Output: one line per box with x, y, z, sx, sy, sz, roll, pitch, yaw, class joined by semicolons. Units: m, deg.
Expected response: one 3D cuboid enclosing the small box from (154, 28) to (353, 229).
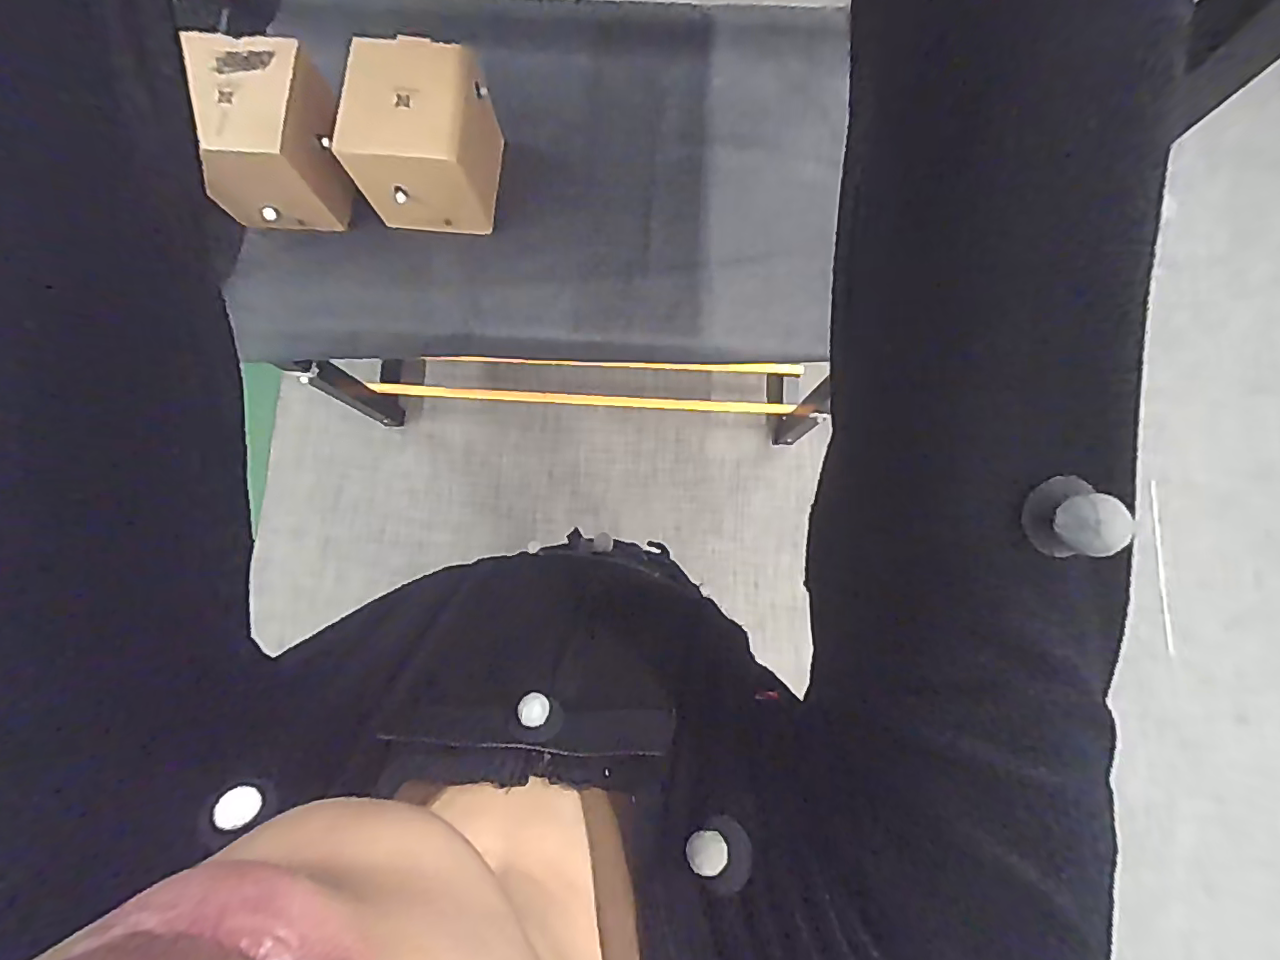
-0.540;-0.500;0.787;0.168;0.176;0.179;3;81;0;small box

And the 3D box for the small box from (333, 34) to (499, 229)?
-0.313;-0.496;0.792;0.168;0.176;0.179;4;81;0;small box
